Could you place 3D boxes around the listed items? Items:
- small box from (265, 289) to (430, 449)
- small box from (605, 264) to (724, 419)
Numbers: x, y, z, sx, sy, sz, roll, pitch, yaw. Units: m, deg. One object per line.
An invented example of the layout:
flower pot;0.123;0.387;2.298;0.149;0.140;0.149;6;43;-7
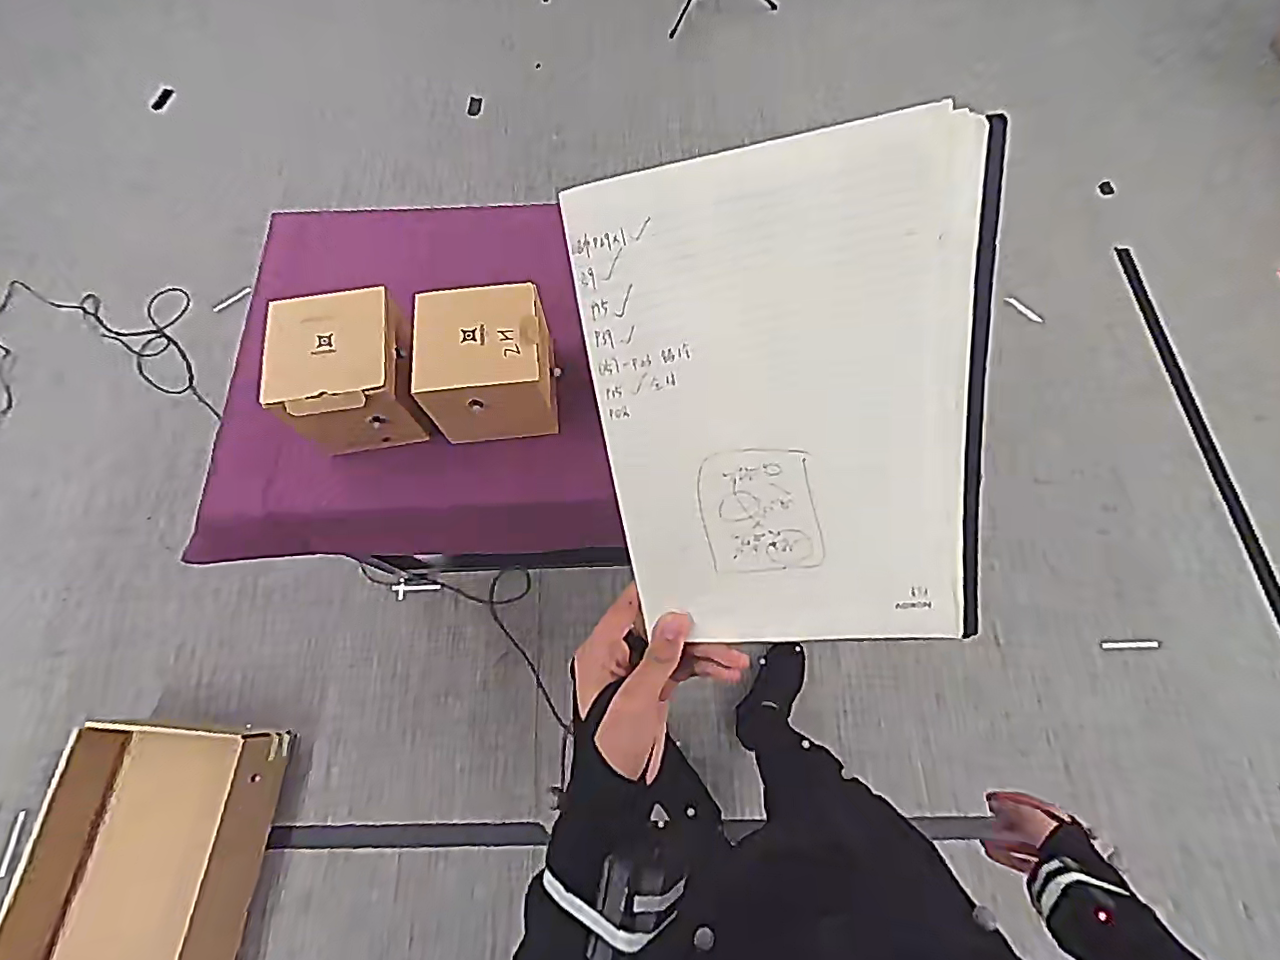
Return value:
small box;-0.433;-0.158;0.828;0.168;0.176;0.179;-9;69;-3
small box;0.038;-0.206;0.837;0.168;0.176;0.179;1;69;1
